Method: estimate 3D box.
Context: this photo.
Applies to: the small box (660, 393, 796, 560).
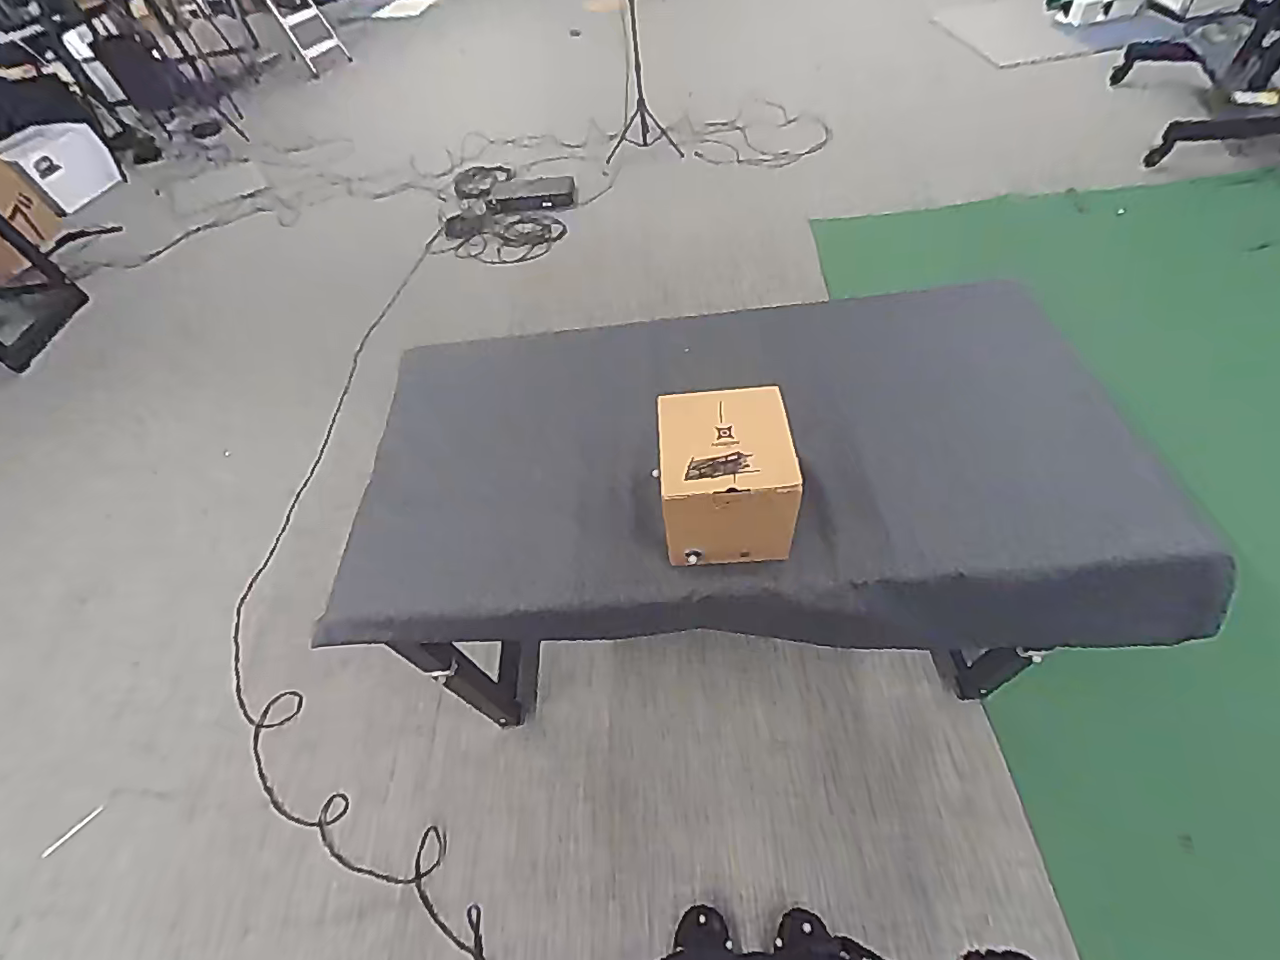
[{"bbox_3d":[0.118,0.003,0.764,0.168,0.176,0.179,-4,51,5],"label":"small box"}]
